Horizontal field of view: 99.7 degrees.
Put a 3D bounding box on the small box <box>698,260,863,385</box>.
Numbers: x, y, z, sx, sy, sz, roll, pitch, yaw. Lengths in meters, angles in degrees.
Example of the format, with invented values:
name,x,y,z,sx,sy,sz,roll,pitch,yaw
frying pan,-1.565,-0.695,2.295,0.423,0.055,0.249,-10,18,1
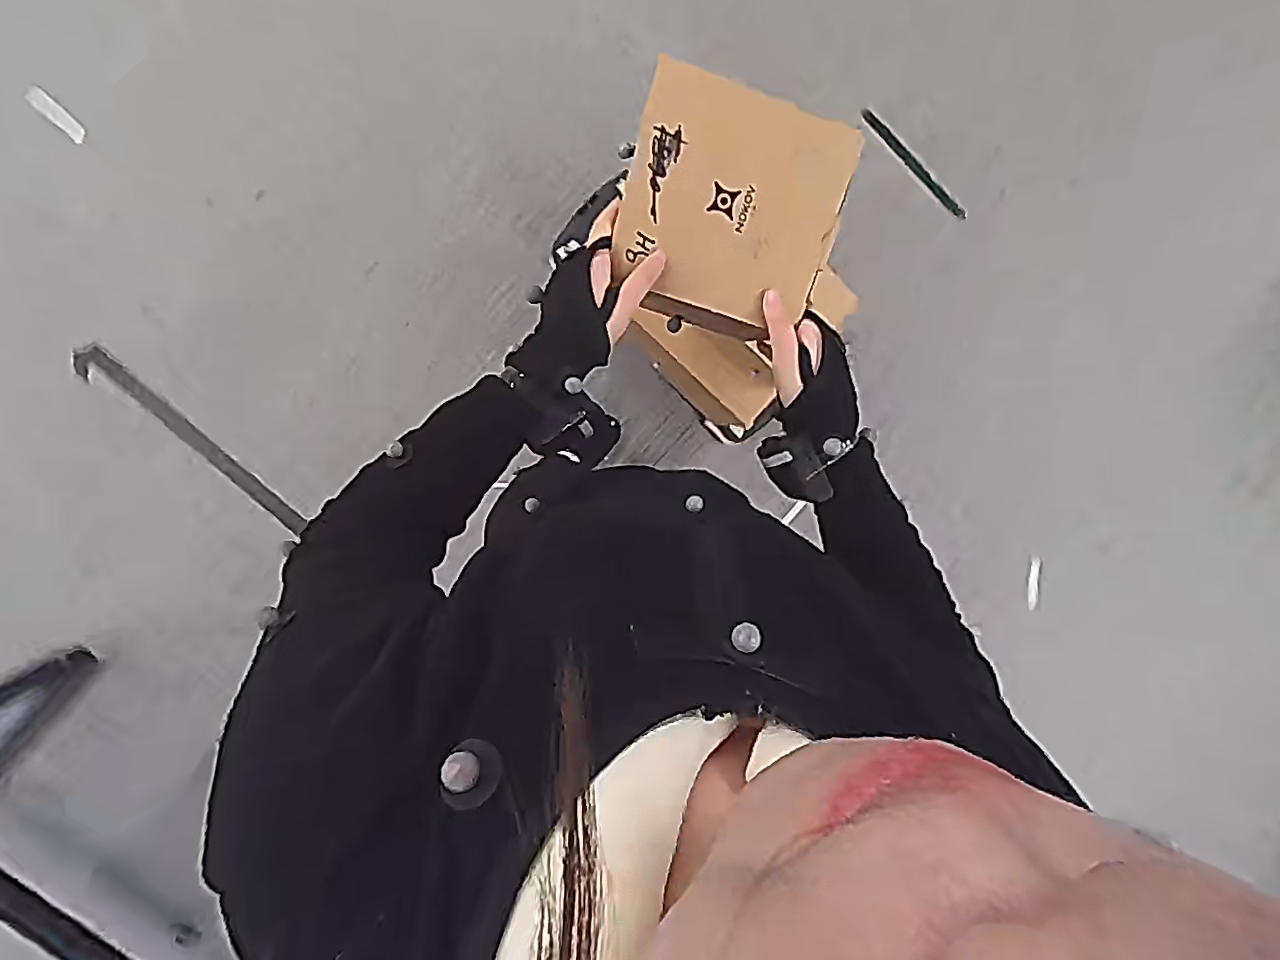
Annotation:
name,x,y,z,sx,sy,sz,roll,pitch,yaw
small box,0.216,-0.272,0.884,0.179,0.176,0.168,41,93,-7

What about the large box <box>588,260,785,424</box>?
name,x,y,z,sx,sy,sz,roll,pitch,yaw
large box,0.148,-0.359,1.117,0.408,0.320,0.320,42,92,-6

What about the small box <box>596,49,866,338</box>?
name,x,y,z,sx,sy,sz,roll,pitch,yaw
small box,0.065,-0.238,0.502,0.179,0.176,0.168,15,101,-10
